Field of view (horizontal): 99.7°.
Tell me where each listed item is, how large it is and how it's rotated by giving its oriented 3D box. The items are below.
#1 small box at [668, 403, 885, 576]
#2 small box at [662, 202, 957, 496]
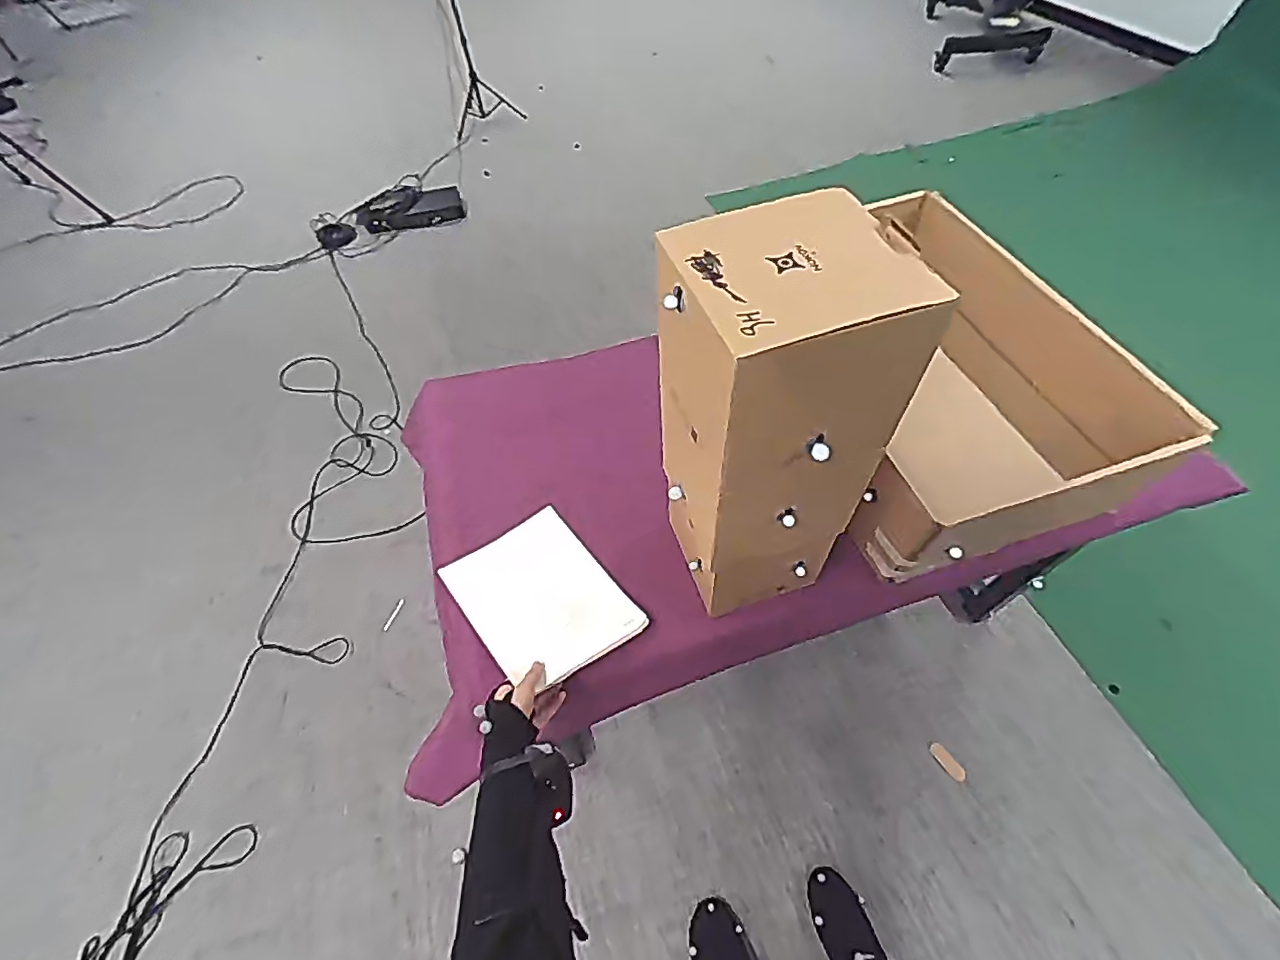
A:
[{"bbox_3d":[0.135,-0.016,0.613,0.179,0.176,0.168,-16,54,-6],"label":"small box"},{"bbox_3d":[0.124,-0.111,0.479,0.179,0.176,0.168,-16,54,-8],"label":"small box"}]
